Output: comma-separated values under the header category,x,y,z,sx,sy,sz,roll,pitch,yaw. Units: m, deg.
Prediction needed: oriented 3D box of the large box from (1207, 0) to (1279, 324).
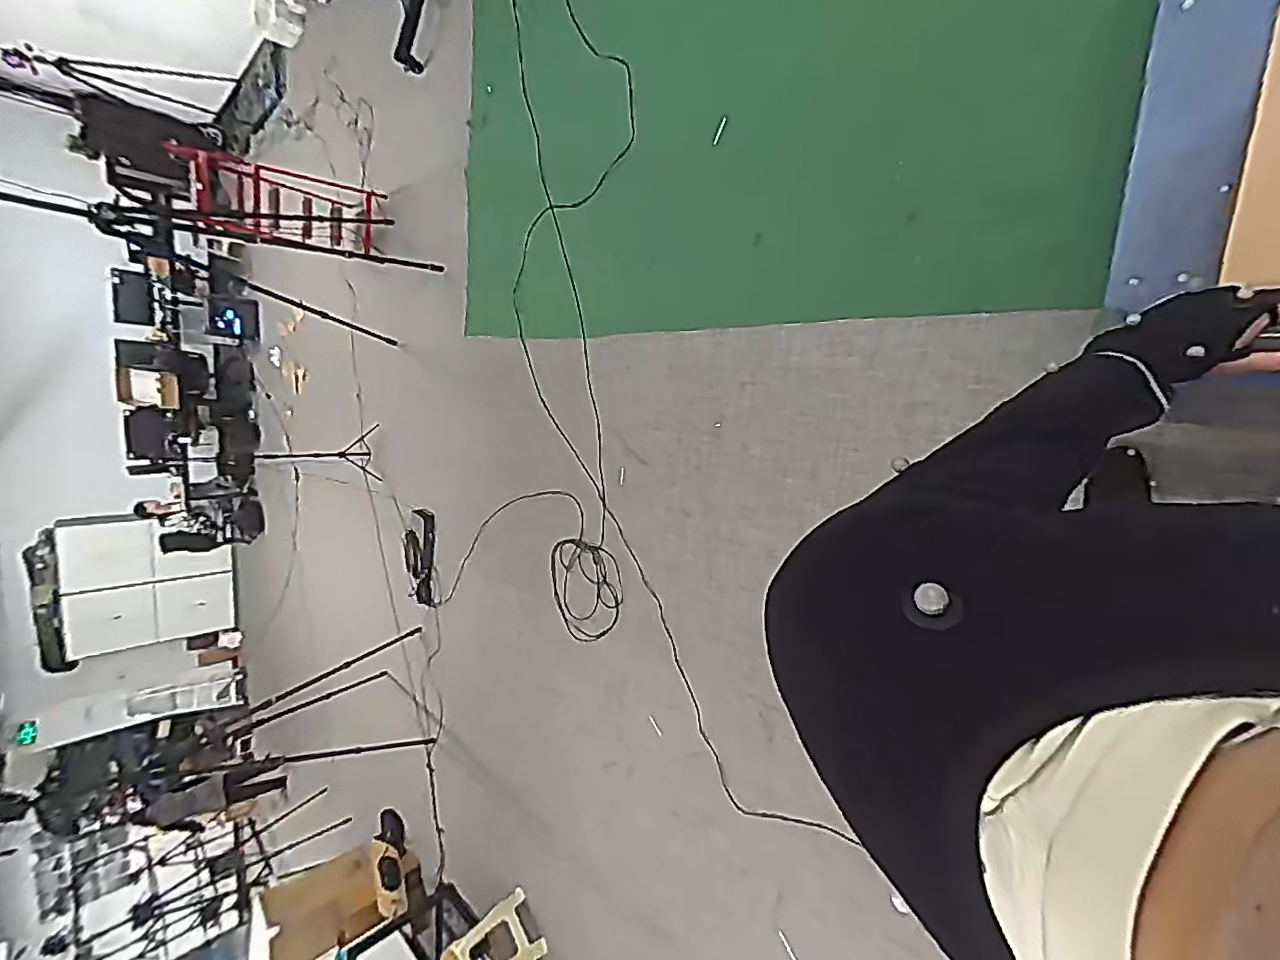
category,x,y,z,sx,sy,sz,roll,pitch,yaw
large box,1.082,-0.463,0.785,0.320,0.320,0.408,11,100,42
